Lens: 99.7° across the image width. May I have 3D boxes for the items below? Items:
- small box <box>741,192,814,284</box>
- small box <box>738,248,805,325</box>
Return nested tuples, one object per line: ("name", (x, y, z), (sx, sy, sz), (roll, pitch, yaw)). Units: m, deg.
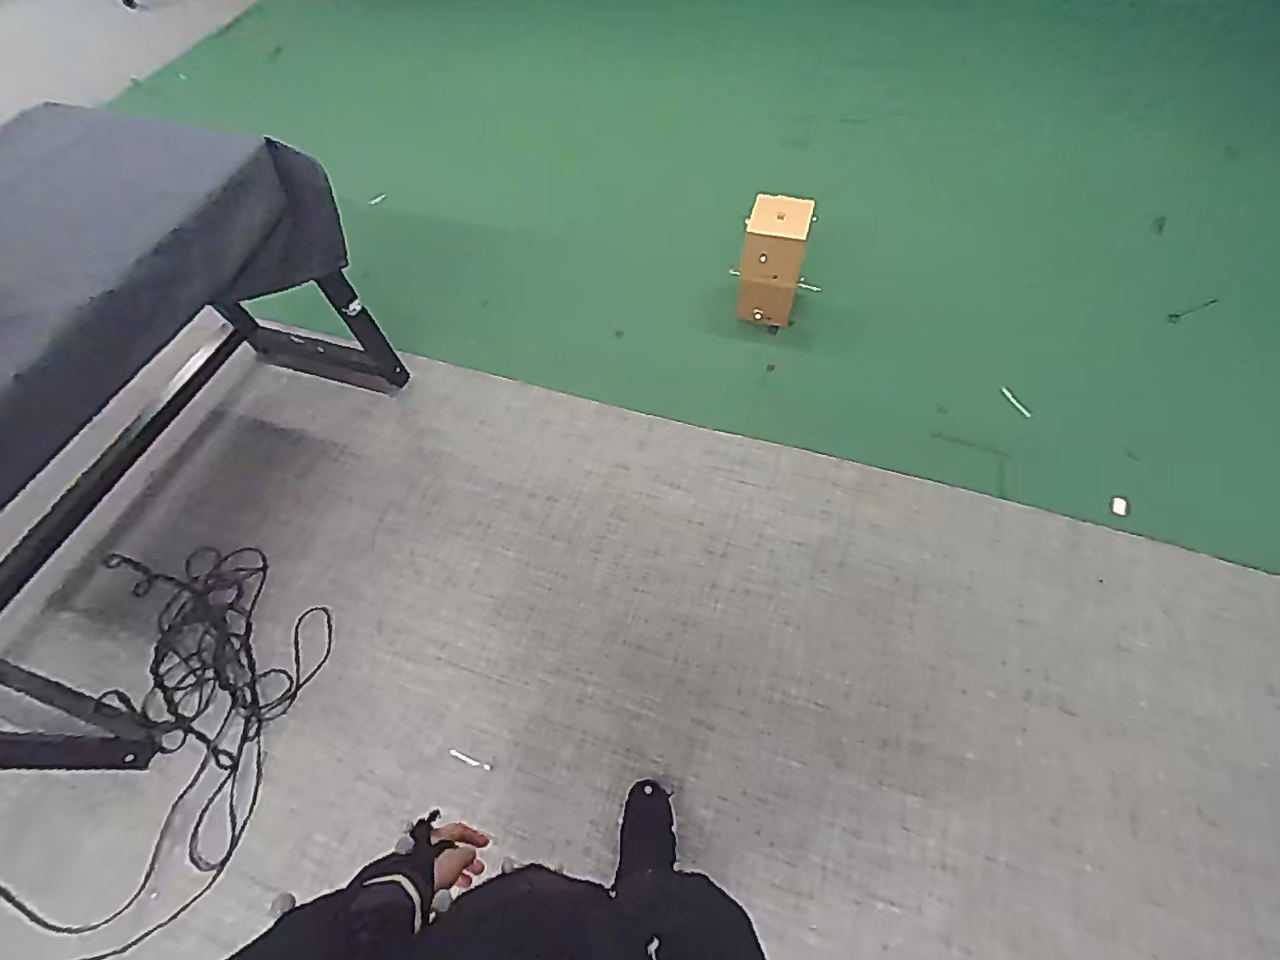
("small box", (0.396, -0.703, 1.580), (0.168, 0.176, 0.179), (14, 62, 11))
("small box", (0.414, -0.627, 1.723), (0.168, 0.176, 0.179), (14, 64, 12))
